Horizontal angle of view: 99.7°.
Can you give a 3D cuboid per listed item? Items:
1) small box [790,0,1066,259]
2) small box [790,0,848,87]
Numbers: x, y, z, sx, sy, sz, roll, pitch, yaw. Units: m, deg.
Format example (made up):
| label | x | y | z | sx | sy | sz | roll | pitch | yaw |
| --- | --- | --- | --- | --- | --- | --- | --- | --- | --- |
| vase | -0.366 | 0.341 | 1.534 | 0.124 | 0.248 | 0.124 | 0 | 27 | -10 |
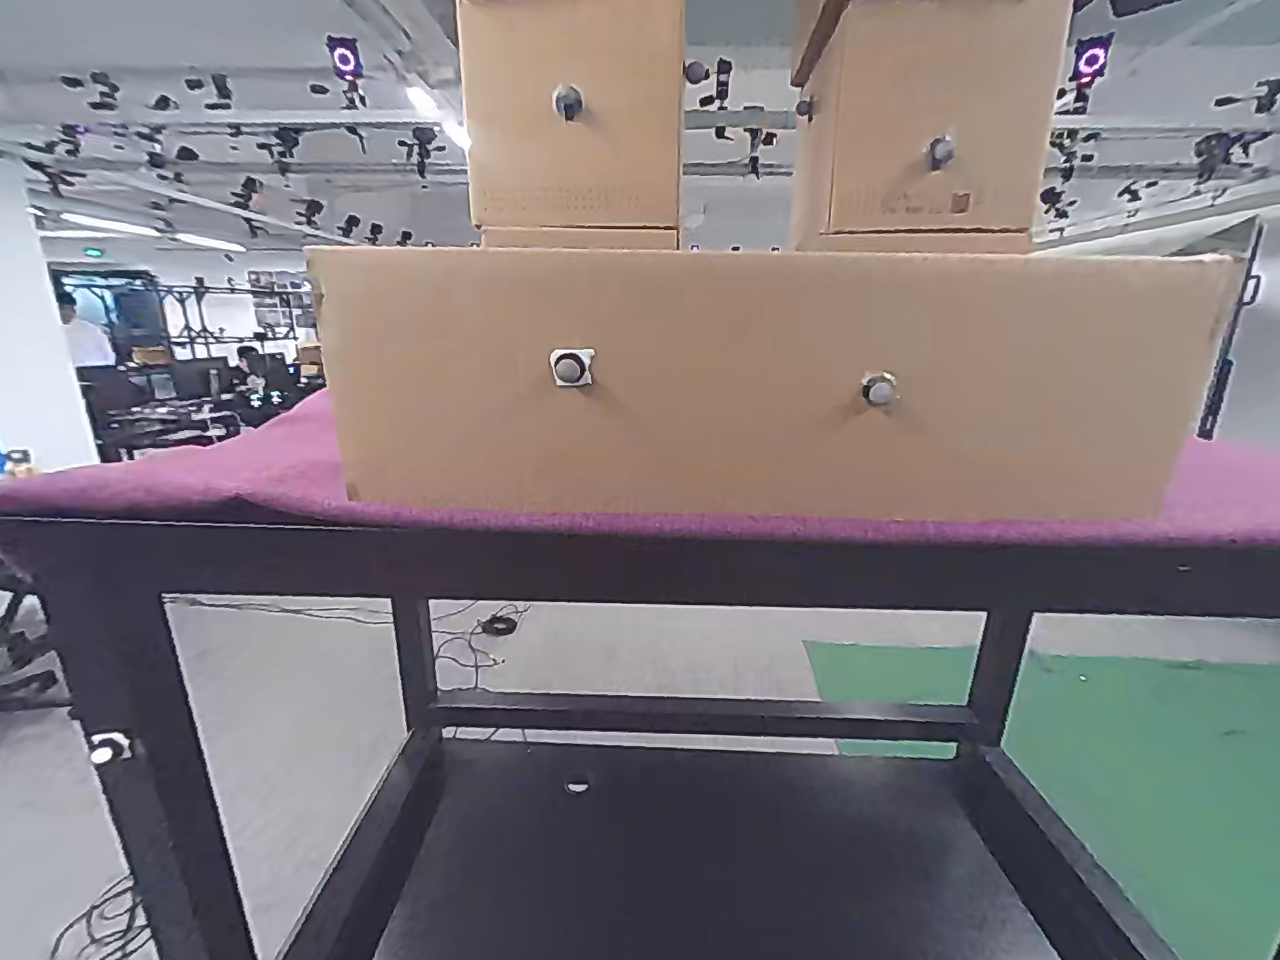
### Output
| label | x | y | z | sx | sy | sz | roll | pitch | yaw |
| --- | --- | --- | --- | --- | --- | --- | --- | --- | --- |
| small box | 0.242 | -0.305 | 0.507 | 0.168 | 0.176 | 0.179 | 0 | 16 | 4 |
| small box | 0.228 | -0.461 | 0.459 | 0.168 | 0.176 | 0.179 | 1 | 16 | 5 |
